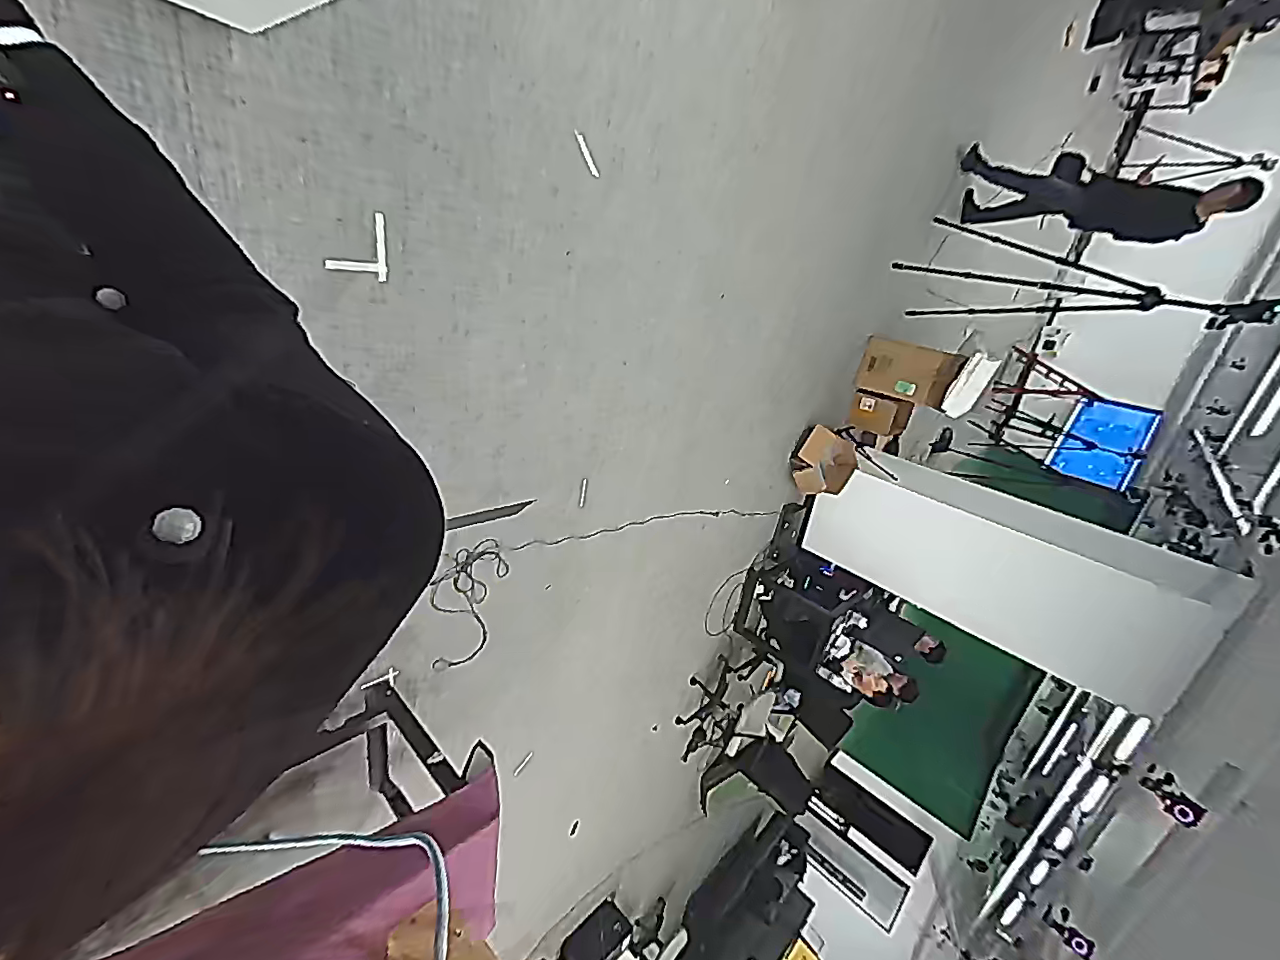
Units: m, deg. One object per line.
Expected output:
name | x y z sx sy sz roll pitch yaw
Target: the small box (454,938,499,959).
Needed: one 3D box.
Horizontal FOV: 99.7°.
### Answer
small box | -0.444 1.360 1.401 0.179 0.176 0.168 -4 114 -49
